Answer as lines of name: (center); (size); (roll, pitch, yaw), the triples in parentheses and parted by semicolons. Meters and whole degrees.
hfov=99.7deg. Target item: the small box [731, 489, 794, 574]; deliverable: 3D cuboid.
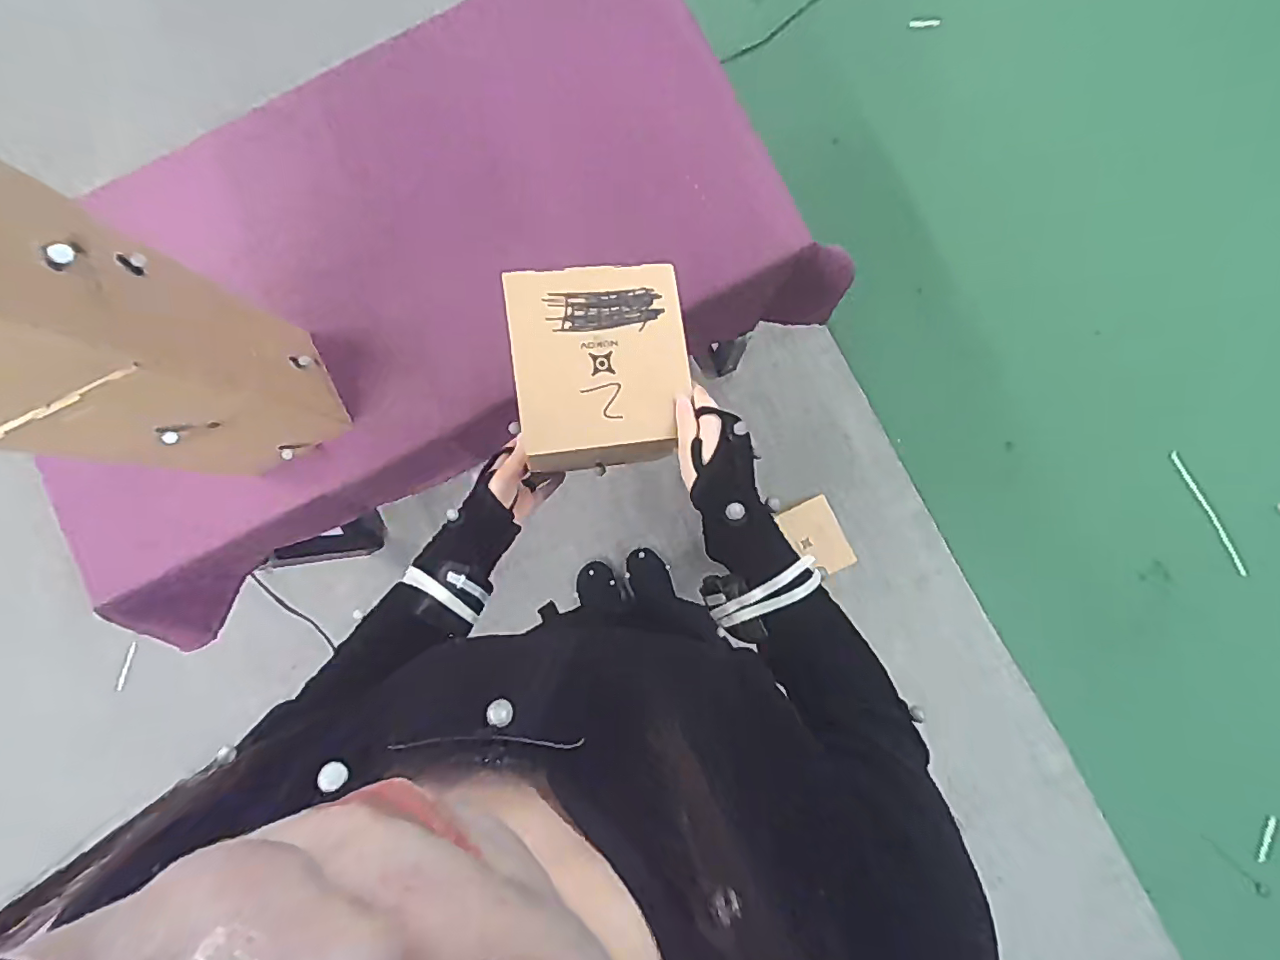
small box: (0.350, 0.134, 1.424); (0.179, 0.176, 0.168); (-23, 87, 0)

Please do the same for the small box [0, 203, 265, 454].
small box: (-0.554, -0.142, 0.571); (0.168, 0.176, 0.179); (-27, 87, 1)

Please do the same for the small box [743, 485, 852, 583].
small box: (0.354, 0.123, 1.262); (0.179, 0.176, 0.168); (-25, 88, -1)

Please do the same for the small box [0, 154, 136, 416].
small box: (-0.556, -0.155, 0.407); (0.179, 0.176, 0.168); (-25, 86, 0)

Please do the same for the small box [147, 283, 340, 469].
small box: (-0.547, -0.128, 0.736); (0.179, 0.176, 0.168); (-28, 86, -1)
